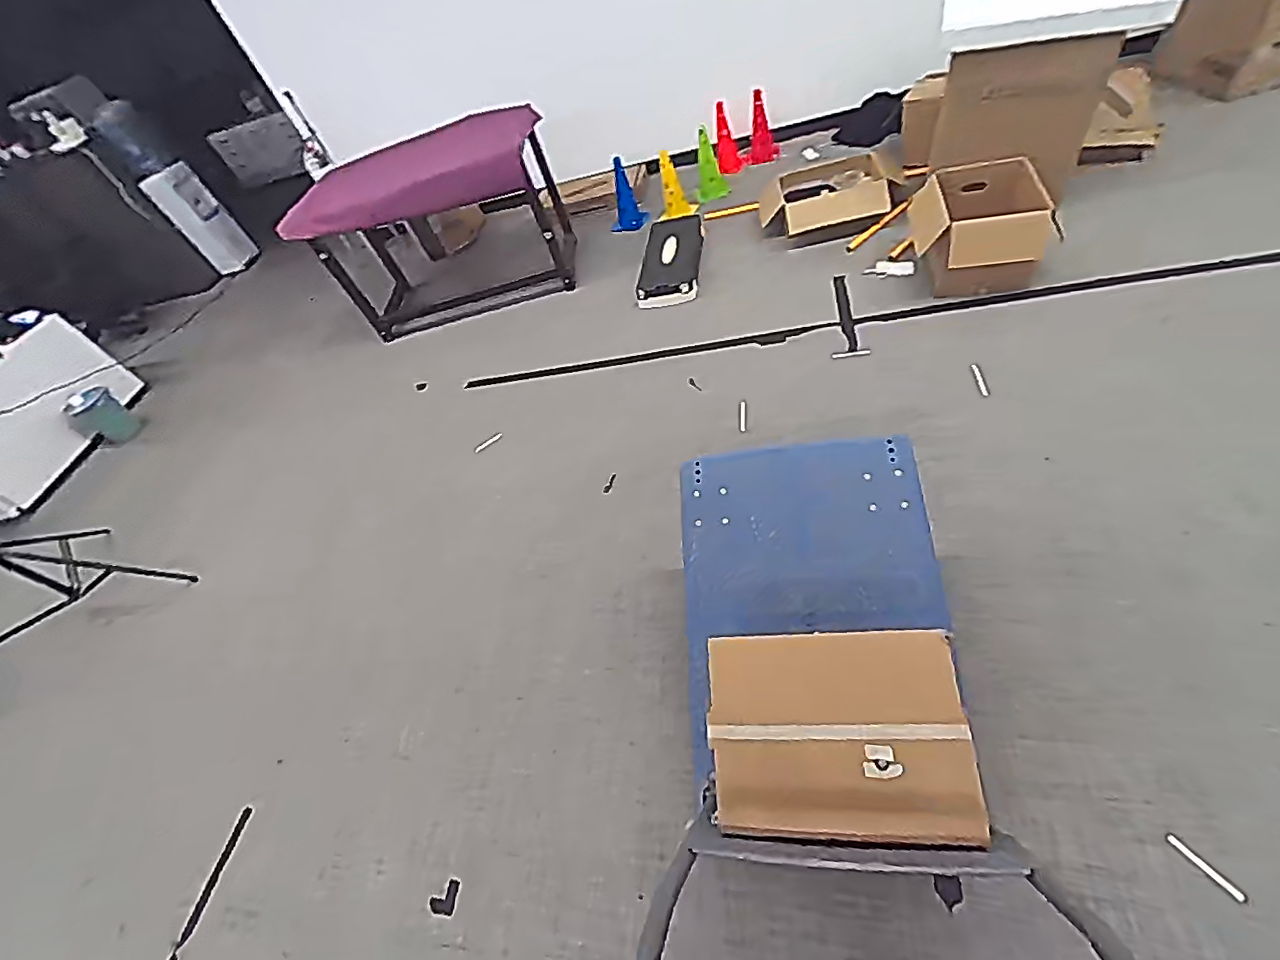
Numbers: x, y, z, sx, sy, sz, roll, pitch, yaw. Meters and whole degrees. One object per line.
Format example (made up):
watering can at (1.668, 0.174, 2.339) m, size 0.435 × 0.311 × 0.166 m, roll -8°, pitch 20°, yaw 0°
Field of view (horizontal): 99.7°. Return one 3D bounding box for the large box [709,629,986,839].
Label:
large box at (0.361, 0.476, 1.045) m, size 0.408 × 0.320 × 0.320 m, roll -7°, pitch 68°, yaw 13°
